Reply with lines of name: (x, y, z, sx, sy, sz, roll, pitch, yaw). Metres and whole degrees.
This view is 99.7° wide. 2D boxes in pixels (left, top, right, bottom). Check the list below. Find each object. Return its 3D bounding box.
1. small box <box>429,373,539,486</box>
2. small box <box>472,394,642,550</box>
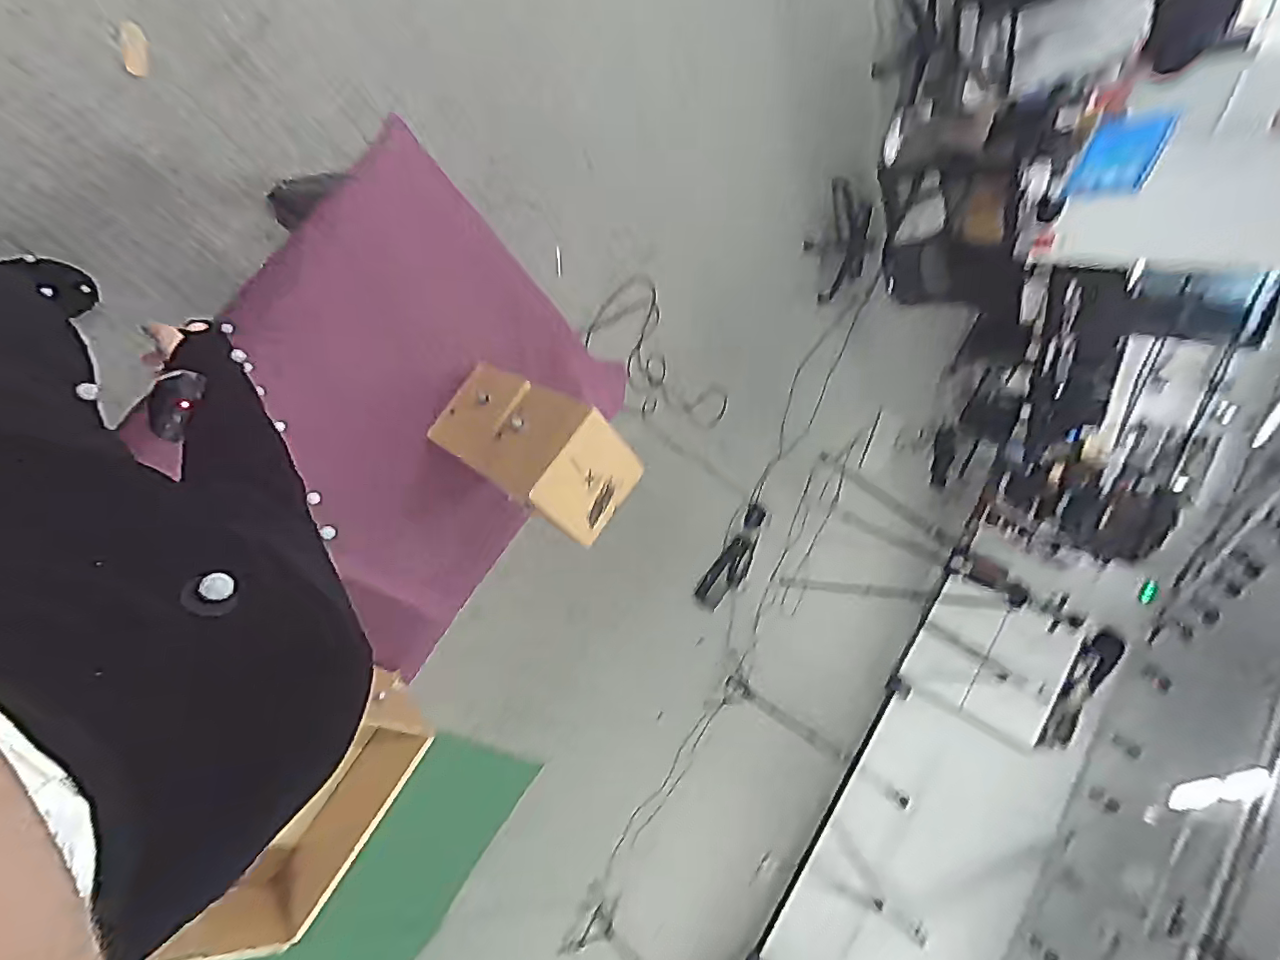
small box: (-0.247, -0.078, 0.990, 0.168, 0.176, 0.179, -57, 140, -10)
small box: (-0.134, -0.019, 0.886, 0.168, 0.176, 0.179, -54, 139, -14)
